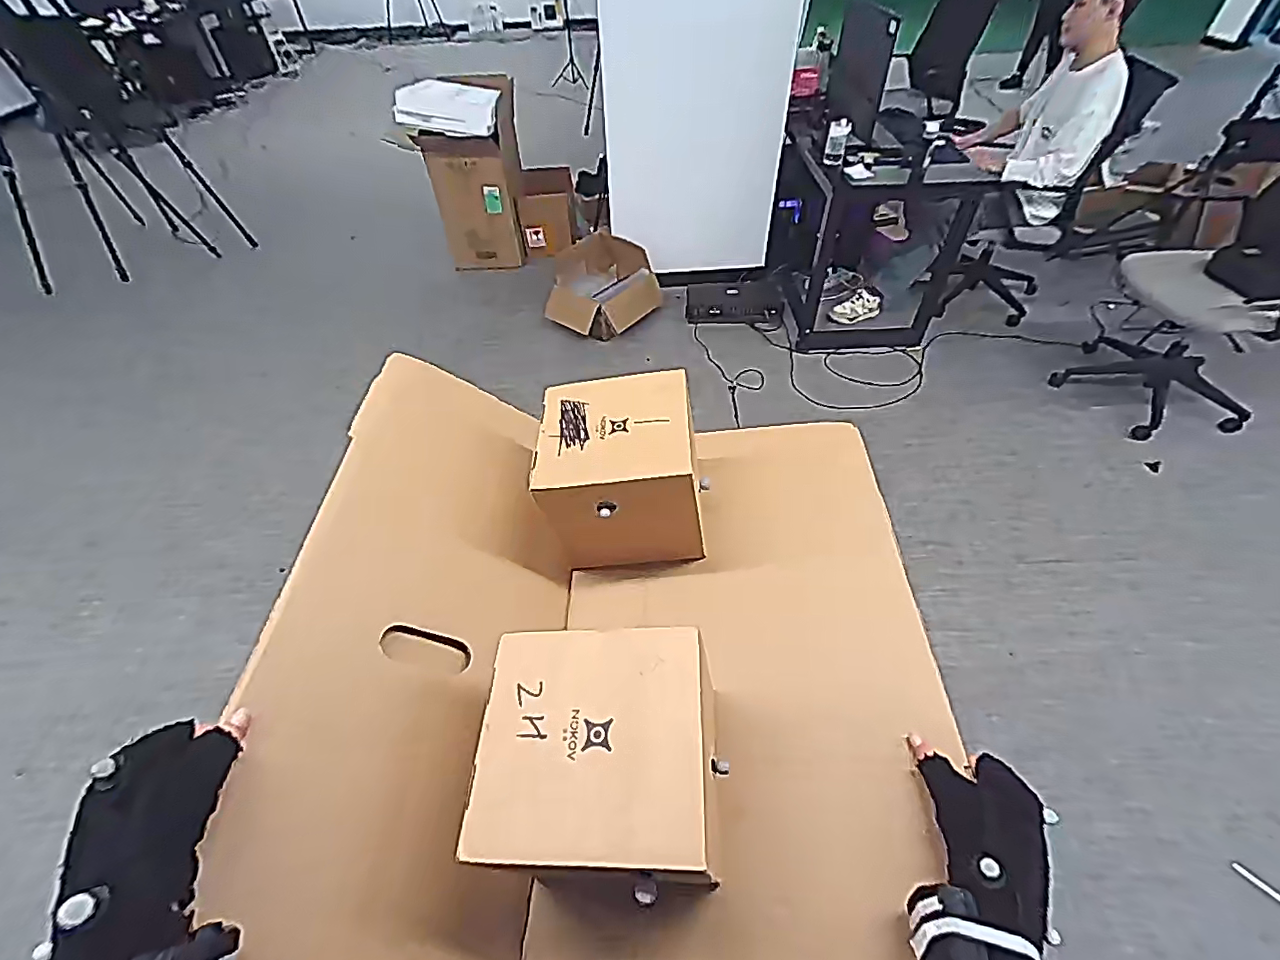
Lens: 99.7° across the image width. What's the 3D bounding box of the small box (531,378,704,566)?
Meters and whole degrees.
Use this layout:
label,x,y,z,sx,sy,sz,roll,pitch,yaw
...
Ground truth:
label,x,y,z,sx,sy,sz,roll,pitch,yaw
small box,-0.018,-0.003,0.681,0.179,0.176,0.168,-5,51,8
